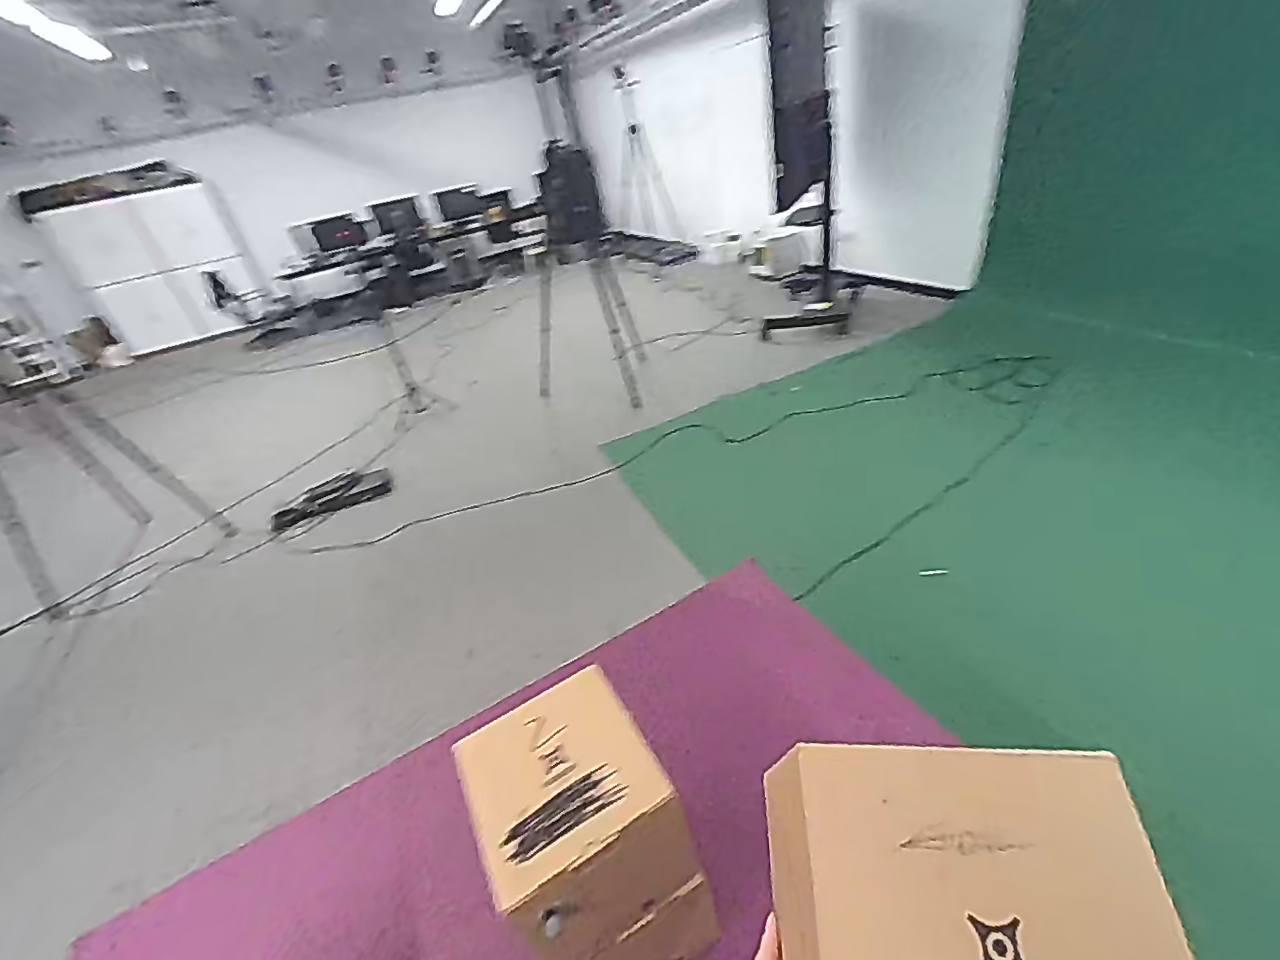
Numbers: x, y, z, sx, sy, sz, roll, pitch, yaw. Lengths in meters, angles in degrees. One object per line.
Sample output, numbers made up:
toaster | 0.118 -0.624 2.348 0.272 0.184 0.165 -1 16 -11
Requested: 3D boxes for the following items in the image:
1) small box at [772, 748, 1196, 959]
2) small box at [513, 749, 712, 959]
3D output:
small box | 0.172 0.264 0.311 0.168 0.176 0.179 0 57 6
small box | -0.032 0.477 0.647 0.168 0.176 0.179 -24 35 -16
